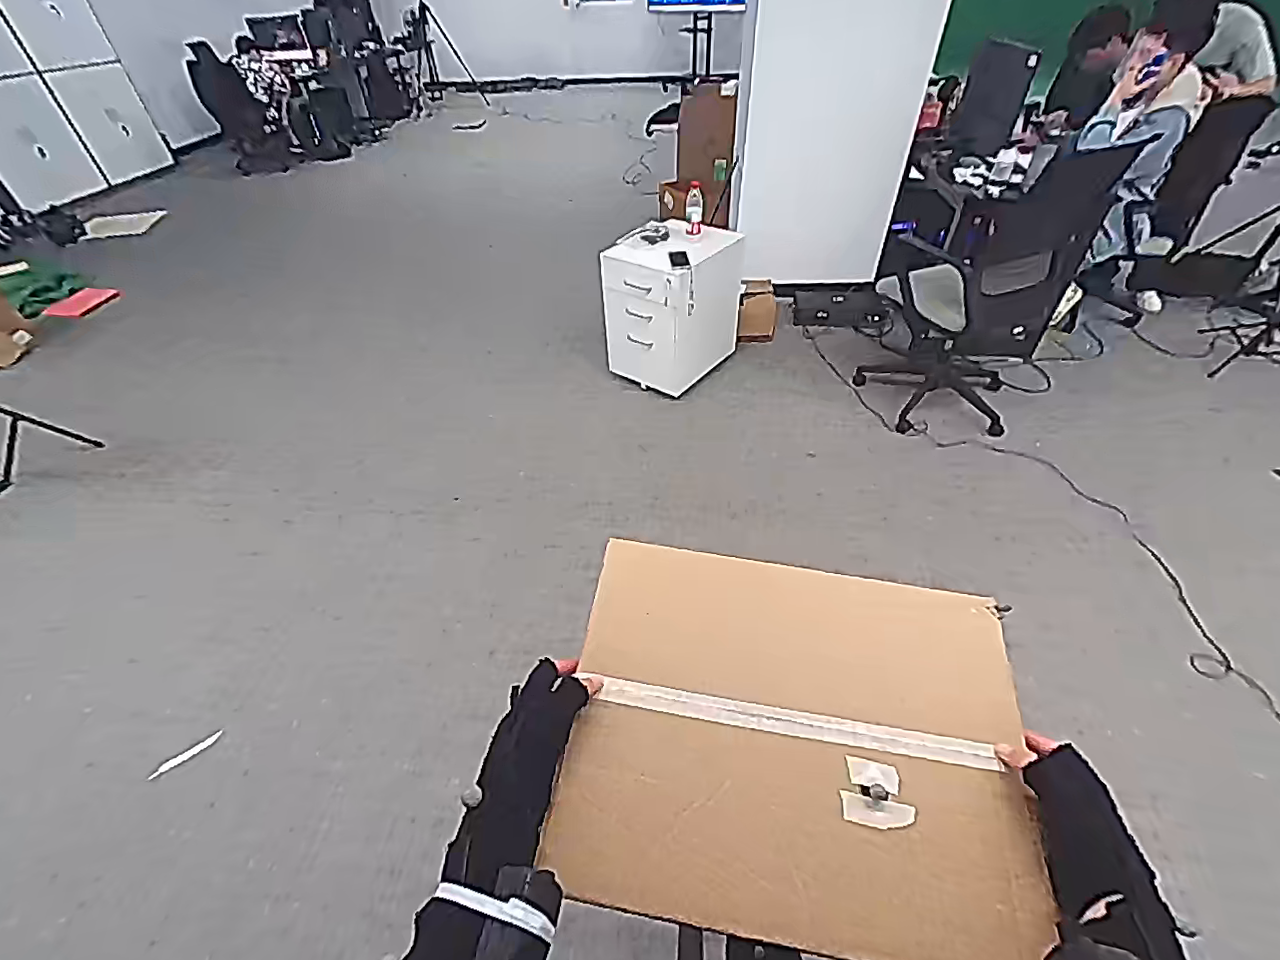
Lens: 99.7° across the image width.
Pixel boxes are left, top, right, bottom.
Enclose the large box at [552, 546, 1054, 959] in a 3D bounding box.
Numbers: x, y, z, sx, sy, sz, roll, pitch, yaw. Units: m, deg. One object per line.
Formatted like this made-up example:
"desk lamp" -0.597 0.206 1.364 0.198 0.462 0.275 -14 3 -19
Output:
"large box" 0.141 0.306 0.631 0.408 0.320 0.320 8 56 5
